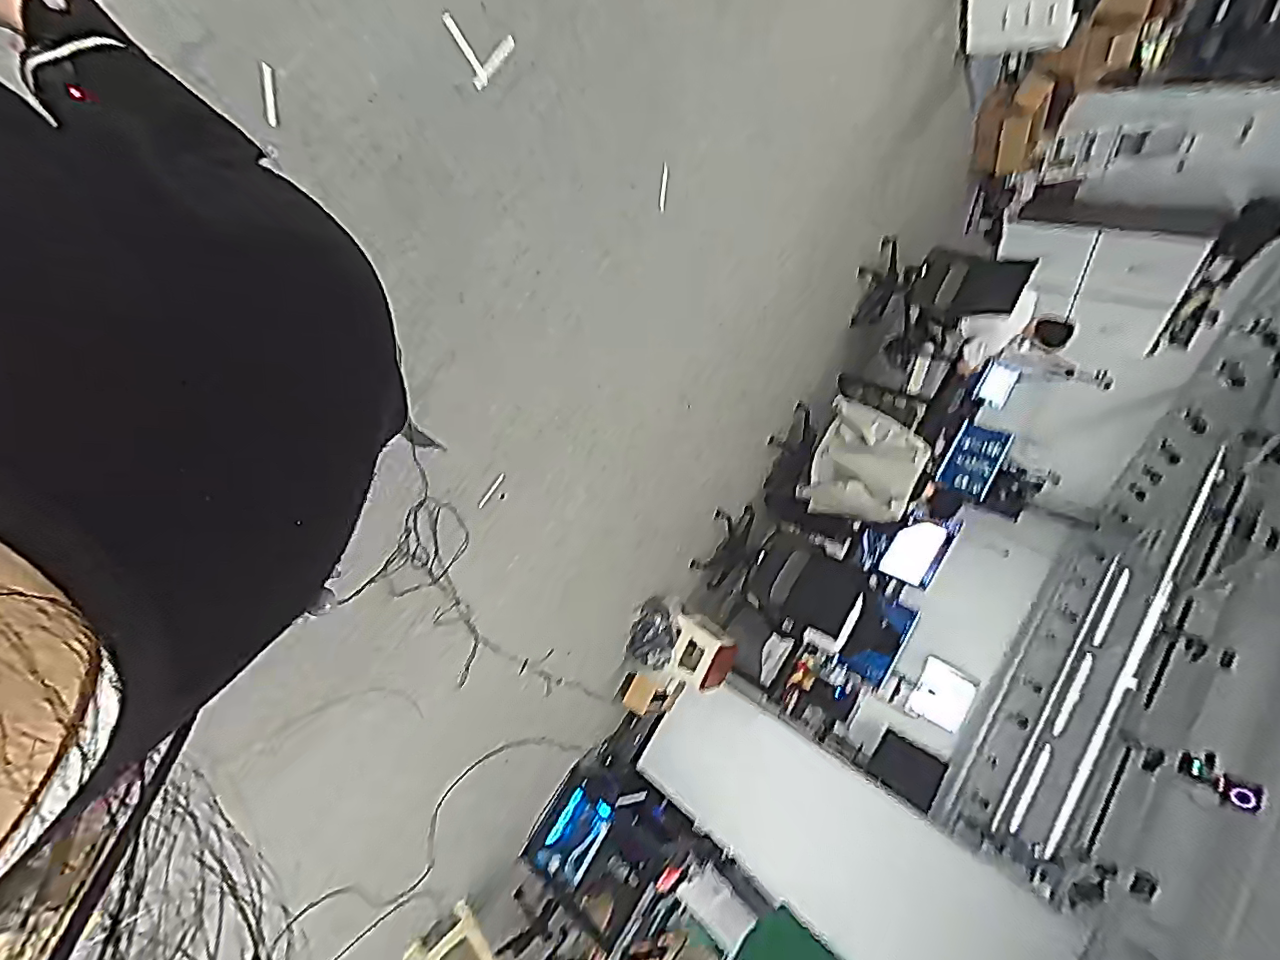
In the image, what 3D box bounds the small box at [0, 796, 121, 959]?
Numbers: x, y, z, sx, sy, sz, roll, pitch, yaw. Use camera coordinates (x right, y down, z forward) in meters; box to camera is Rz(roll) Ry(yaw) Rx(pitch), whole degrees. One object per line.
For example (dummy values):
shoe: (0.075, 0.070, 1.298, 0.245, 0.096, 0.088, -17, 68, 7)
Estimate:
small box: (-0.722, 0.463, 0.572, 0.179, 0.176, 0.168, -56, 145, -12)
